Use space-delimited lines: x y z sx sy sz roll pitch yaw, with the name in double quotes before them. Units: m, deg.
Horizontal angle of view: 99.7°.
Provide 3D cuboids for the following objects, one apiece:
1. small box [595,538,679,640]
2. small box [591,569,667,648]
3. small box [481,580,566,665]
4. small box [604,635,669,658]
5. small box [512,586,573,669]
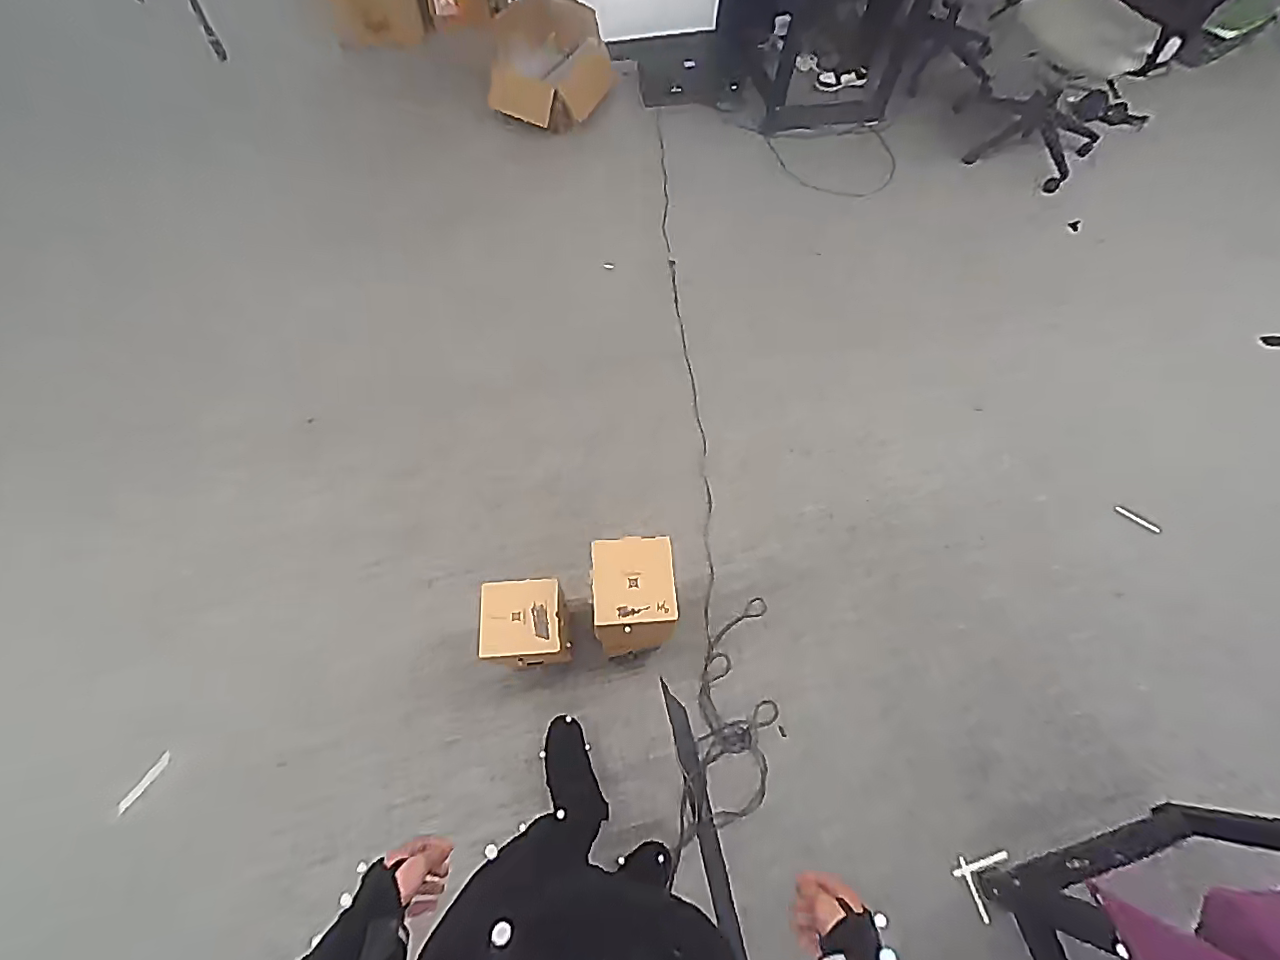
"small box" -0.012 0.236 1.158 0.168 0.176 0.179 -3 65 -4
"small box" -0.018 0.302 1.308 0.179 0.176 0.168 -9 66 -7
"small box" -0.266 0.338 1.274 0.179 0.176 0.168 -3 66 -4
"small box" -0.026 0.368 1.456 0.168 0.176 0.179 -11 67 -7
"small box" -0.269 0.392 1.429 0.168 0.176 0.179 -7 66 -5
